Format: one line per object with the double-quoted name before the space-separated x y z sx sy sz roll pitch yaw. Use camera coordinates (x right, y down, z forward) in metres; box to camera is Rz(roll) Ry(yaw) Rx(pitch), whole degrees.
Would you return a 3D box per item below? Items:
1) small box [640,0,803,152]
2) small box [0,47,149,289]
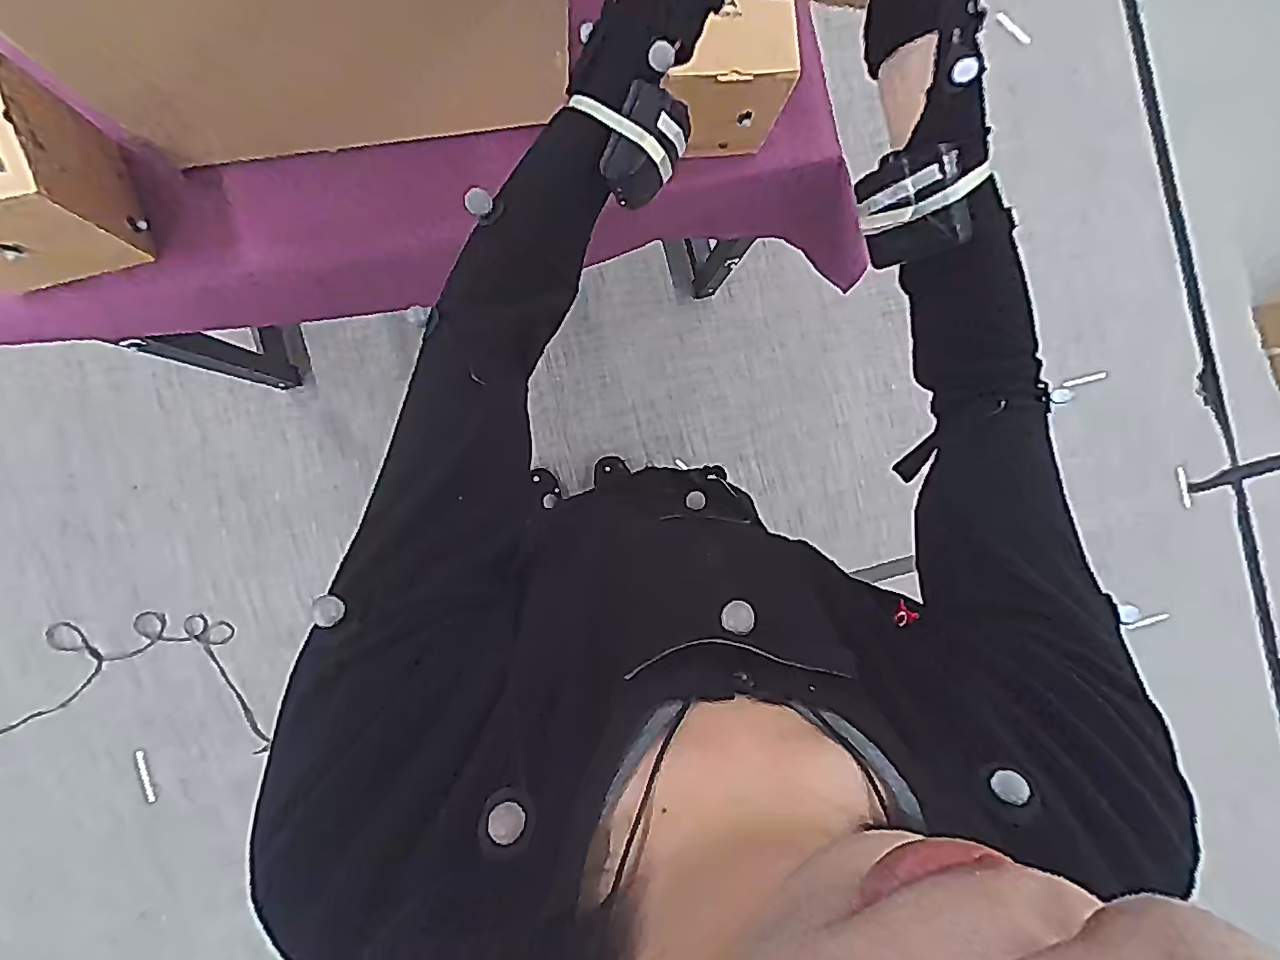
"small box" 0.097 -0.561 0.713 0.168 0.176 0.179 -7 90 -7
"small box" -0.718 -0.342 0.614 0.179 0.176 0.168 -19 91 -7
